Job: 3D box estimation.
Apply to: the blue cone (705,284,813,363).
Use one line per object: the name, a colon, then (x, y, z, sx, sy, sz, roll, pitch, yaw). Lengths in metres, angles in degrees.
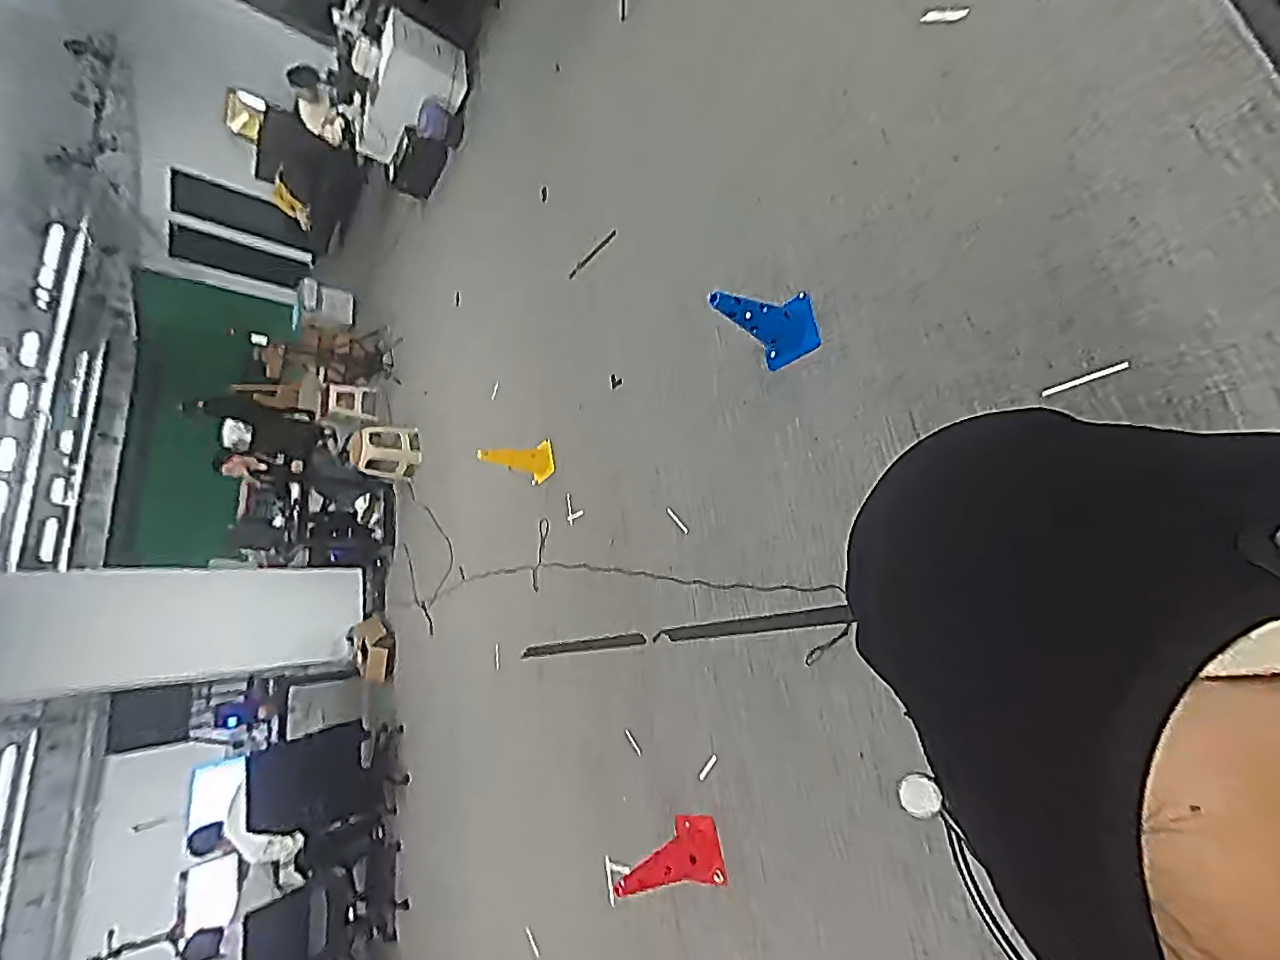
blue cone: (0.336, -0.500, 1.621, 0.193, 0.380, 0.192, -24, 66, 46)

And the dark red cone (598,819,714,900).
dark red cone: (0.039, 1.233, 1.704, 0.202, 0.394, 0.201, -34, 59, 42)
